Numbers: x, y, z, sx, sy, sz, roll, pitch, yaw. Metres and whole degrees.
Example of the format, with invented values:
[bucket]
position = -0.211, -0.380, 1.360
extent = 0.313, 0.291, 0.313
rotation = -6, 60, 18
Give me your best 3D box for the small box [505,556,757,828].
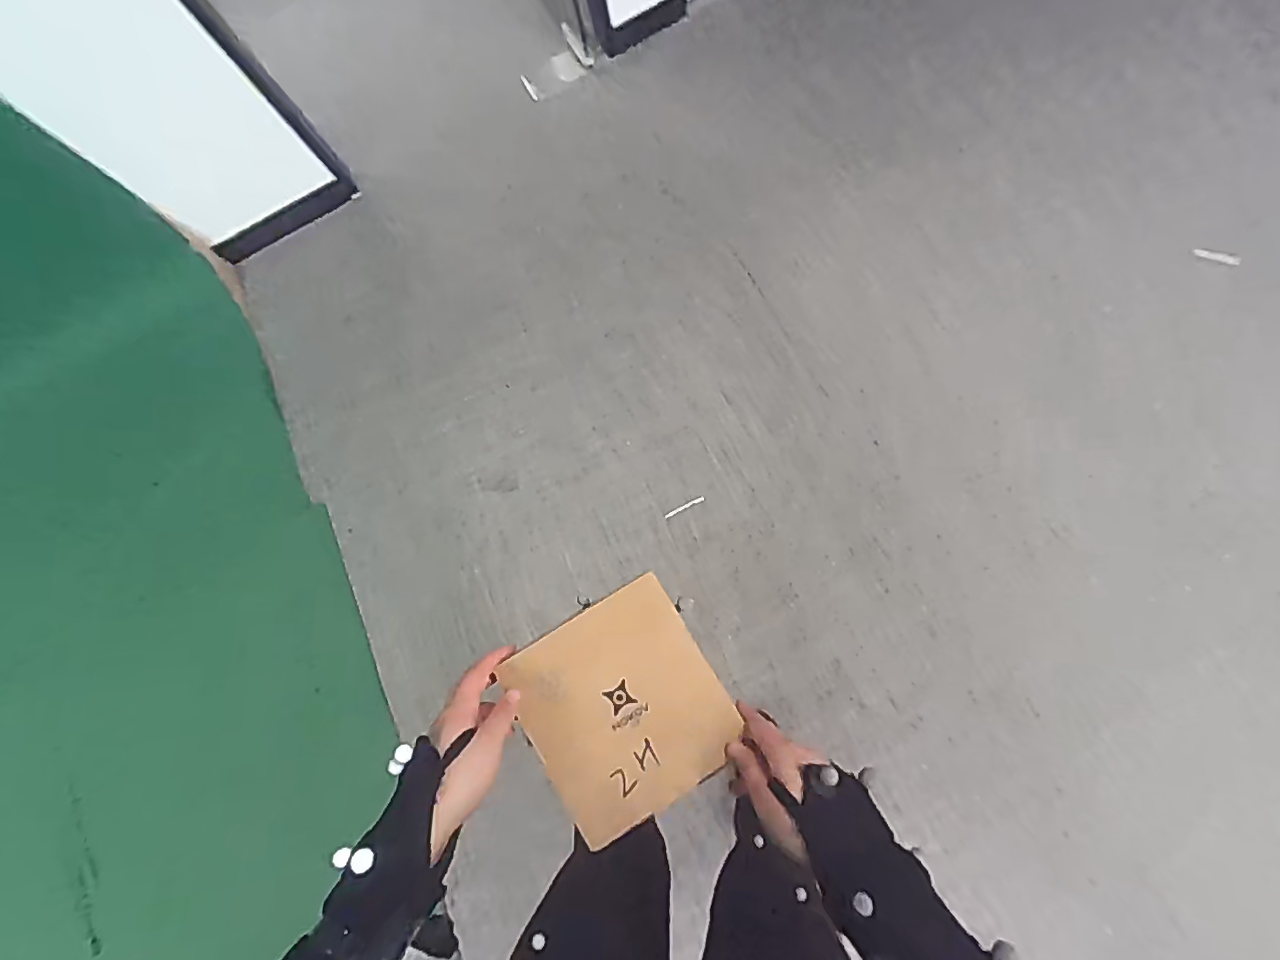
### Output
[small box]
position = -0.009, 0.196, 0.552
extent = 0.168, 0.176, 0.179
rotation = -31, 82, -4
